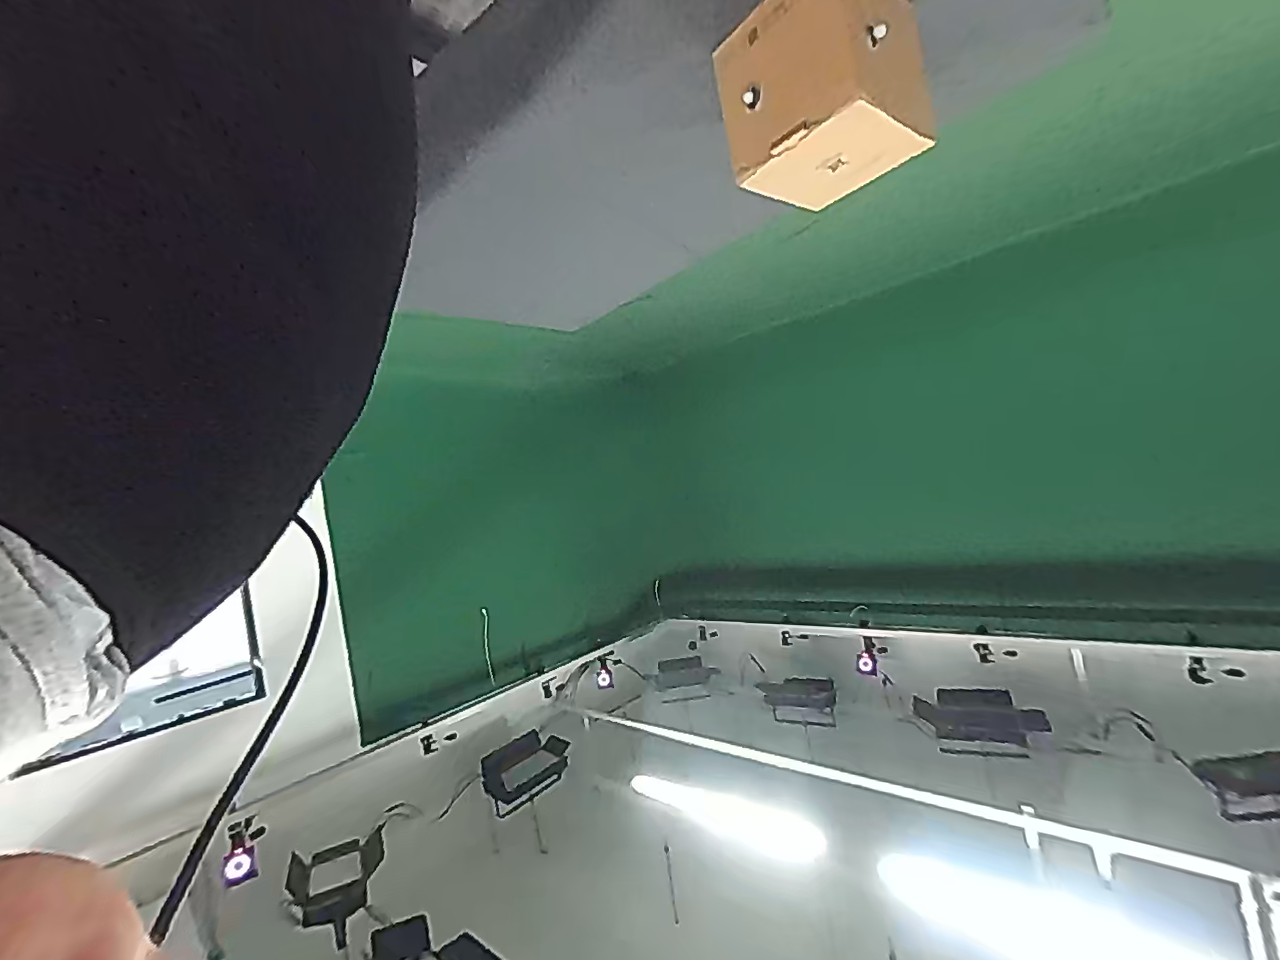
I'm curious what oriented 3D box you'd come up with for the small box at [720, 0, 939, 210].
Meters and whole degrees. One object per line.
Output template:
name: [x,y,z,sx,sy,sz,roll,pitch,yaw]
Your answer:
small box: [0.217,-0.452,0.636,0.179,0.176,0.168,-12,-179,-37]
